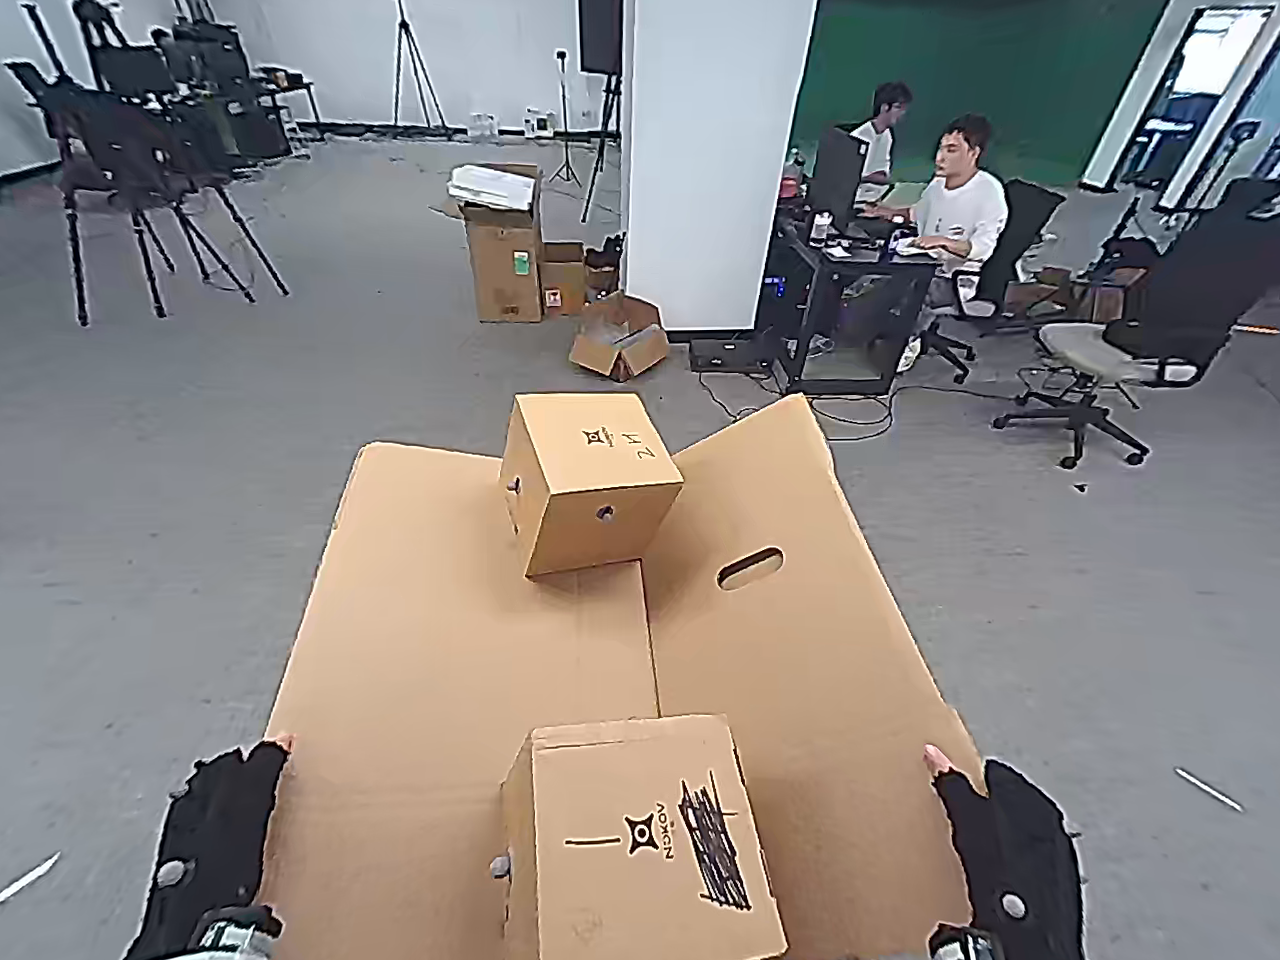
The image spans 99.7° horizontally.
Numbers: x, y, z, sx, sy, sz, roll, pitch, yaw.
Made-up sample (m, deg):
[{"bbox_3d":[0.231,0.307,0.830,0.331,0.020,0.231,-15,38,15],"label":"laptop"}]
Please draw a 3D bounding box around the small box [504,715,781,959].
[{"bbox_3d":[-0.015,0.315,0.462,0.179,0.176,0.168,5,48,-19],"label":"small box"}]

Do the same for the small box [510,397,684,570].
[{"bbox_3d":[-0.071,0.006,0.729,0.179,0.176,0.168,-4,51,-27],"label":"small box"}]
